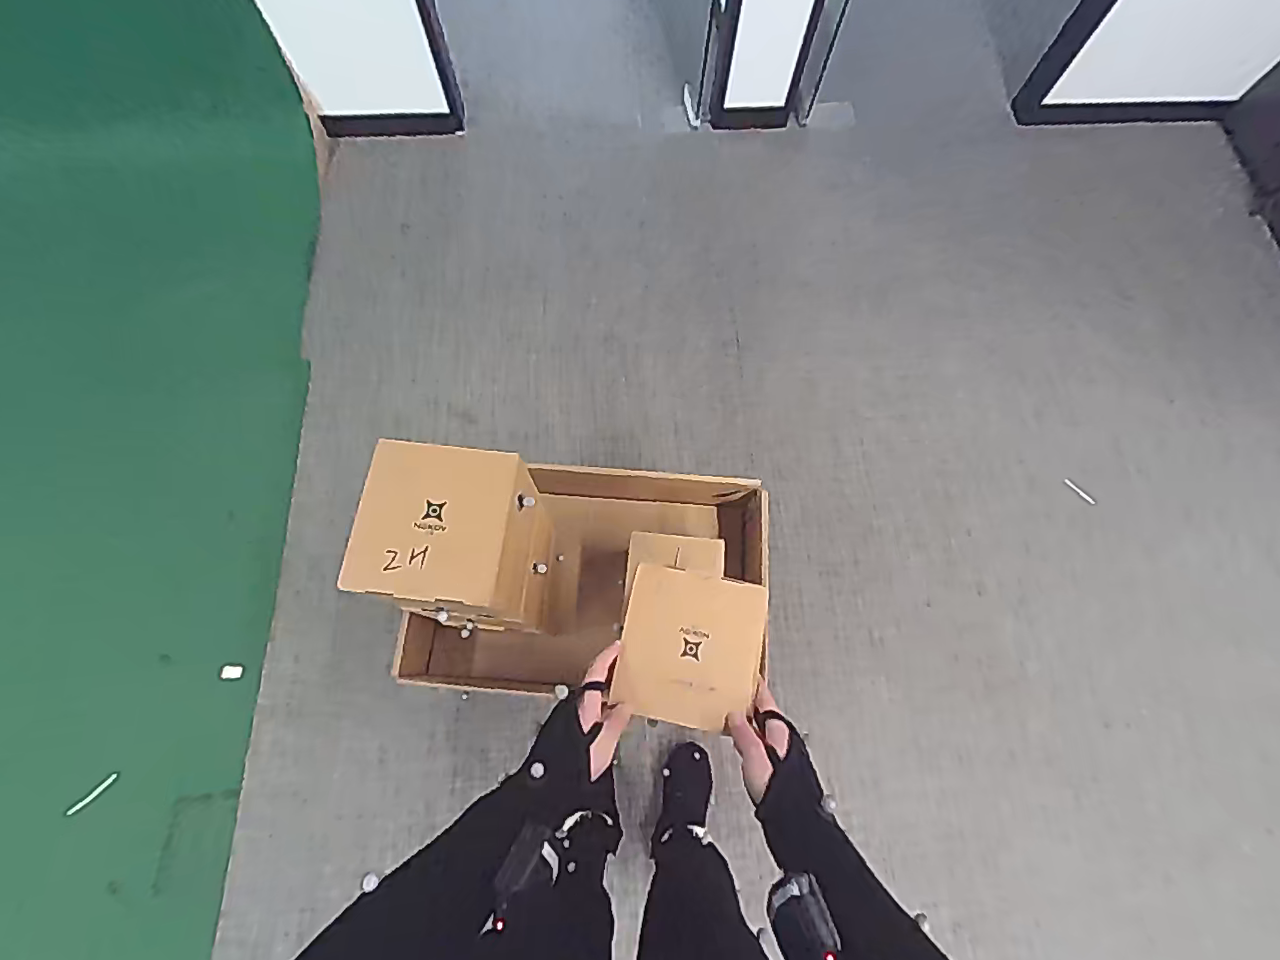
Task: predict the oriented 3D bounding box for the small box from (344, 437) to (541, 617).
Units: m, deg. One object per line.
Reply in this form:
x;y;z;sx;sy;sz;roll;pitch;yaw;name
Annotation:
-0.224;0.066;0.671;0.168;0.176;0.179;7;71;1;small box

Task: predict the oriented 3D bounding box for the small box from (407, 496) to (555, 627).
-0.228;0.123;0.826;0.168;0.176;0.179;6;71;0;small box

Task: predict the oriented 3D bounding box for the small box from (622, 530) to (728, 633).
0.060;0.201;0.977;0.168;0.176;0.179;6;71;0;small box

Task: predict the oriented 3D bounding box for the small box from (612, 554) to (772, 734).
0.060;0.213;0.708;0.168;0.176;0.179;13;71;2;small box
